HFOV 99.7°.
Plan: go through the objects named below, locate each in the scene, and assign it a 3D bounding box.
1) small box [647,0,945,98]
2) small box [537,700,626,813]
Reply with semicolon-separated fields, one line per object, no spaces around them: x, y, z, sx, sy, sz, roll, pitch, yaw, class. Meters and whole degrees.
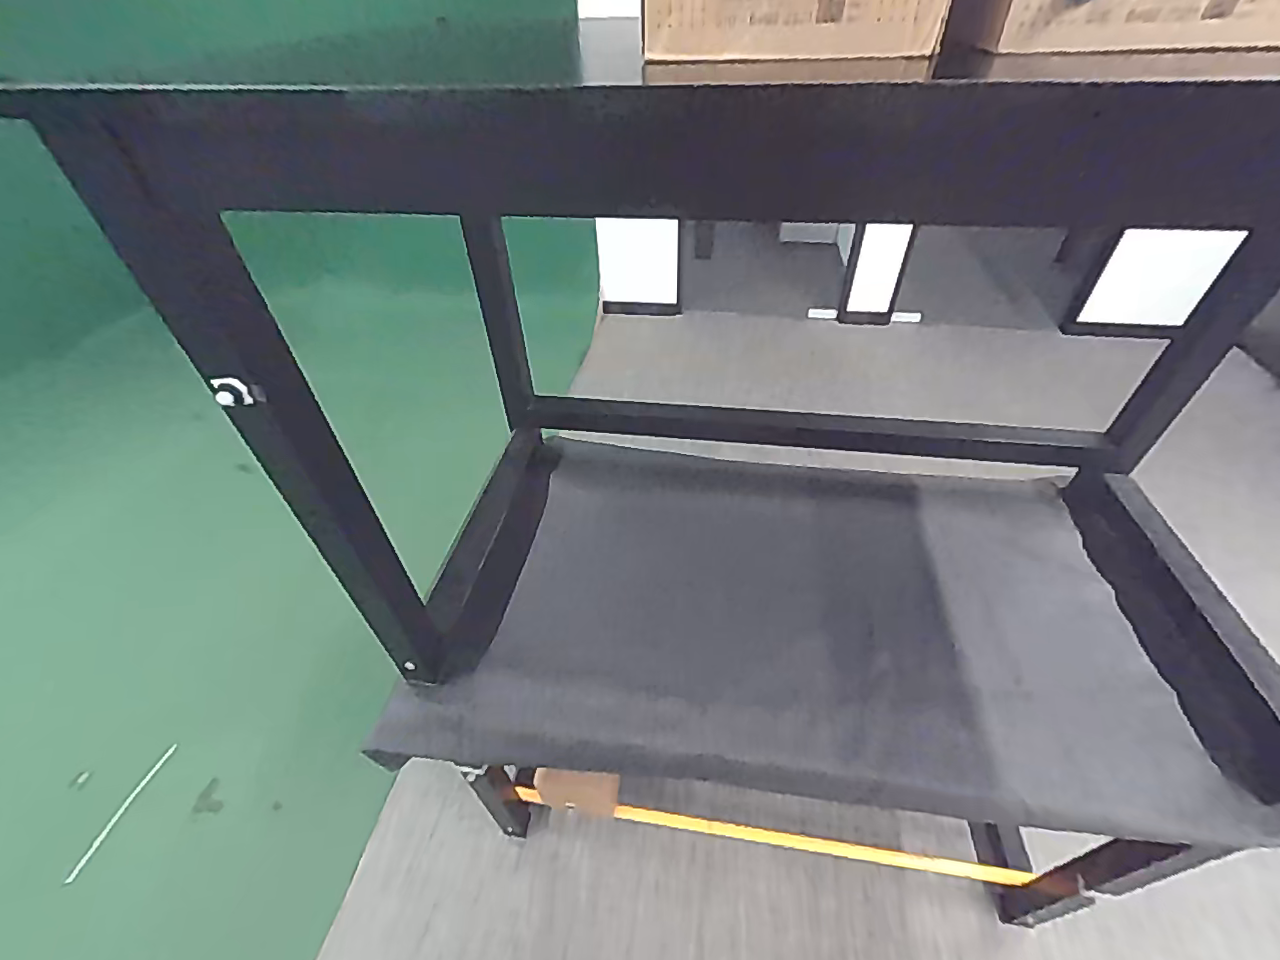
0.093;-0.348;0.327;0.168;0.176;0.179;4;44;6;small box
-0.126;0.639;1.247;0.168;0.176;0.179;5;45;8;small box
